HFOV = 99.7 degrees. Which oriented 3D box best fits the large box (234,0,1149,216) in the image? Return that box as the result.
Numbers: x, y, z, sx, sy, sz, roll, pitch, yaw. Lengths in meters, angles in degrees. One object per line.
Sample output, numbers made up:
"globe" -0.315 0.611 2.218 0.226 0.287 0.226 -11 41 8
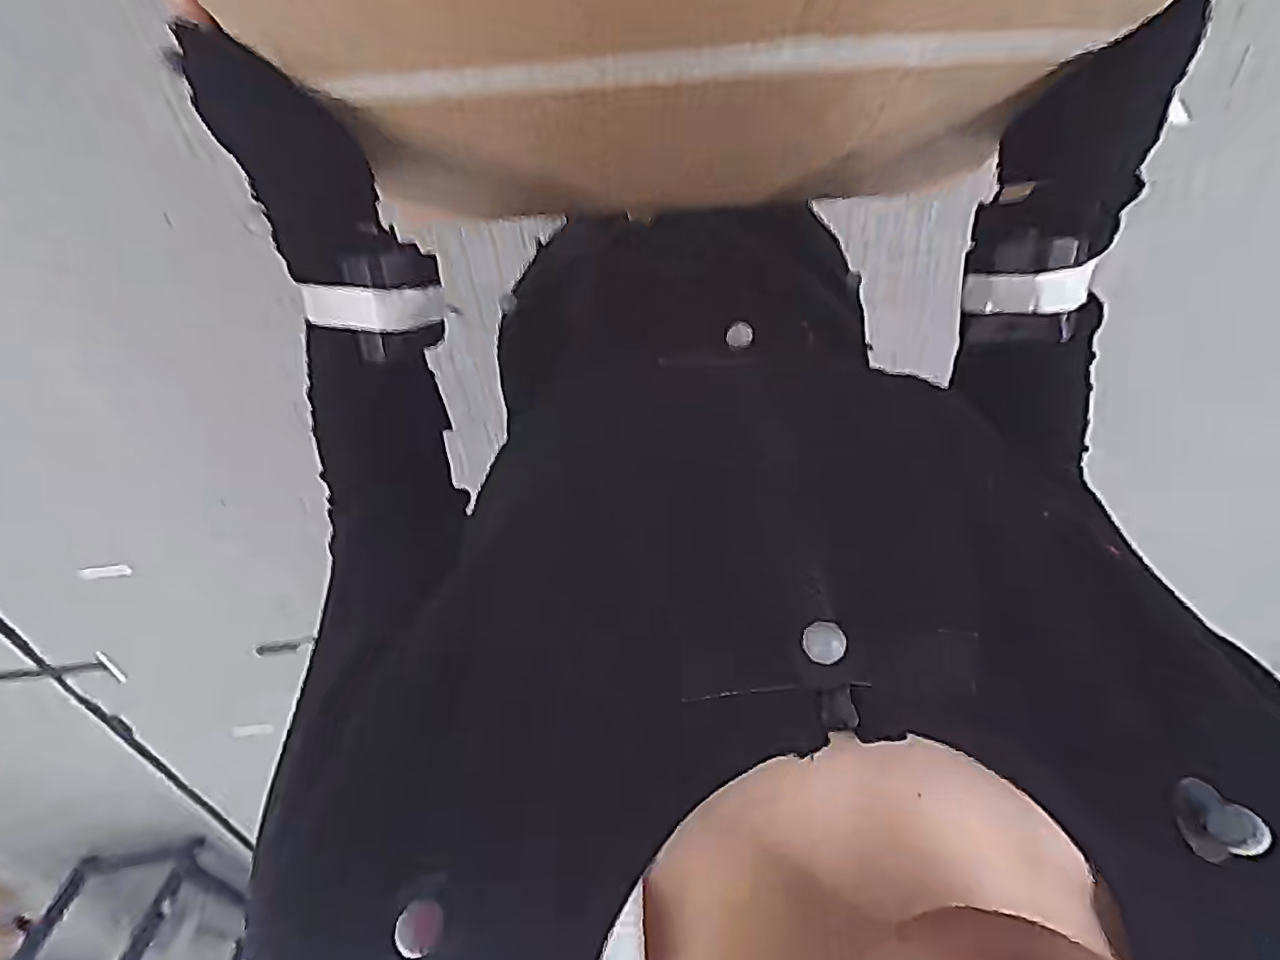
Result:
"large box" 0.021 -0.357 0.251 0.408 0.320 0.320 -4 93 -1
